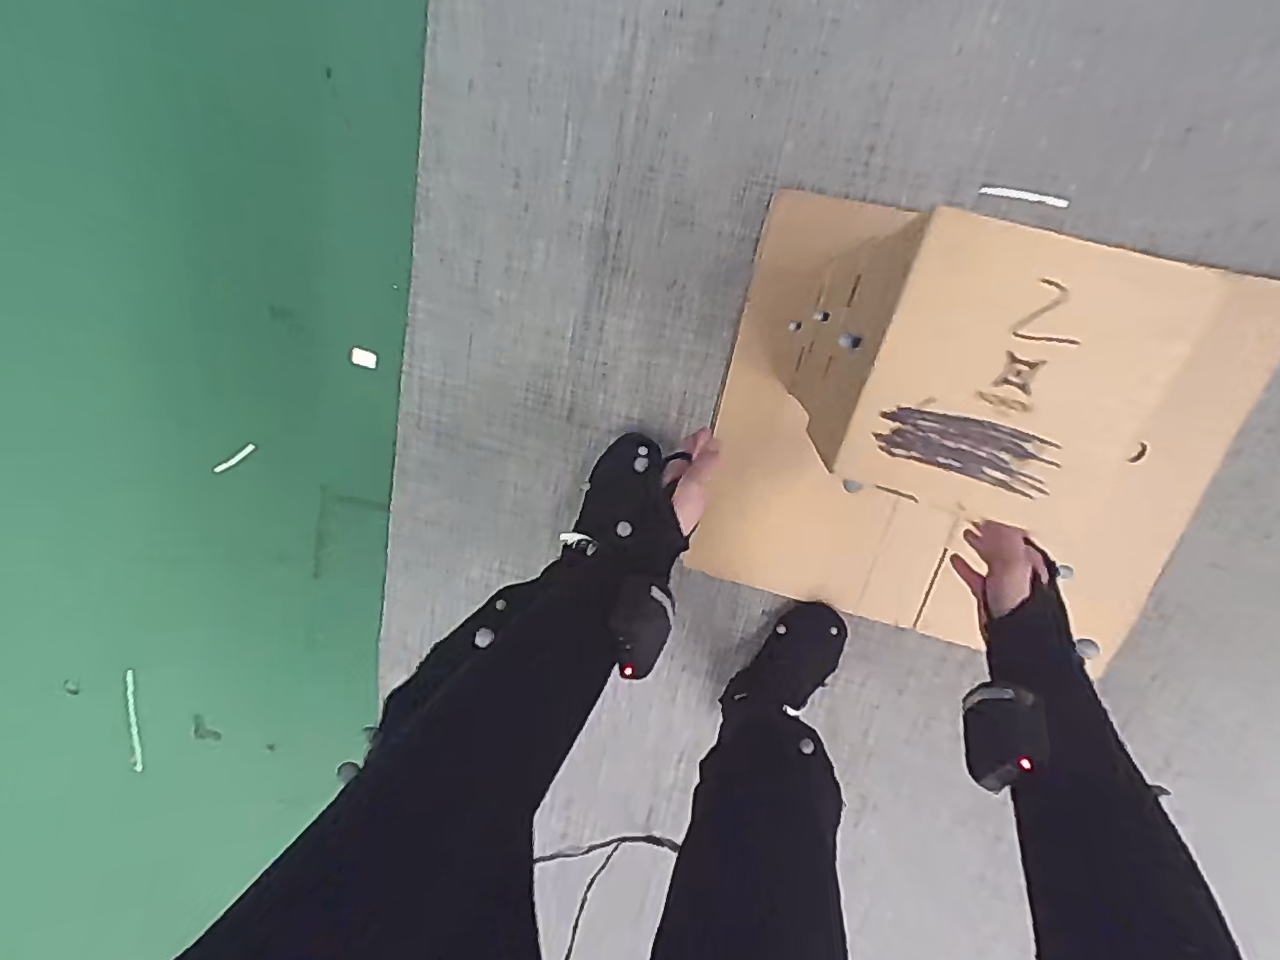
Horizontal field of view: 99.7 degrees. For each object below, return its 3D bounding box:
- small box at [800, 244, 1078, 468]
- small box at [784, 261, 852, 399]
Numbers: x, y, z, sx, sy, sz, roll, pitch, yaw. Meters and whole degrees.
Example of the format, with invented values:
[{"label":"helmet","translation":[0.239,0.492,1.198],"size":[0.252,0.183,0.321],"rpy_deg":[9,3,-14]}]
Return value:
[{"label":"small box","translation":[0.280,-0.131,0.558],"size":[0.179,0.176,0.168],"rpy_deg":[16,109,6]},{"label":"small box","translation":[0.302,-0.178,0.711],"size":[0.179,0.176,0.168],"rpy_deg":[16,108,6]}]
